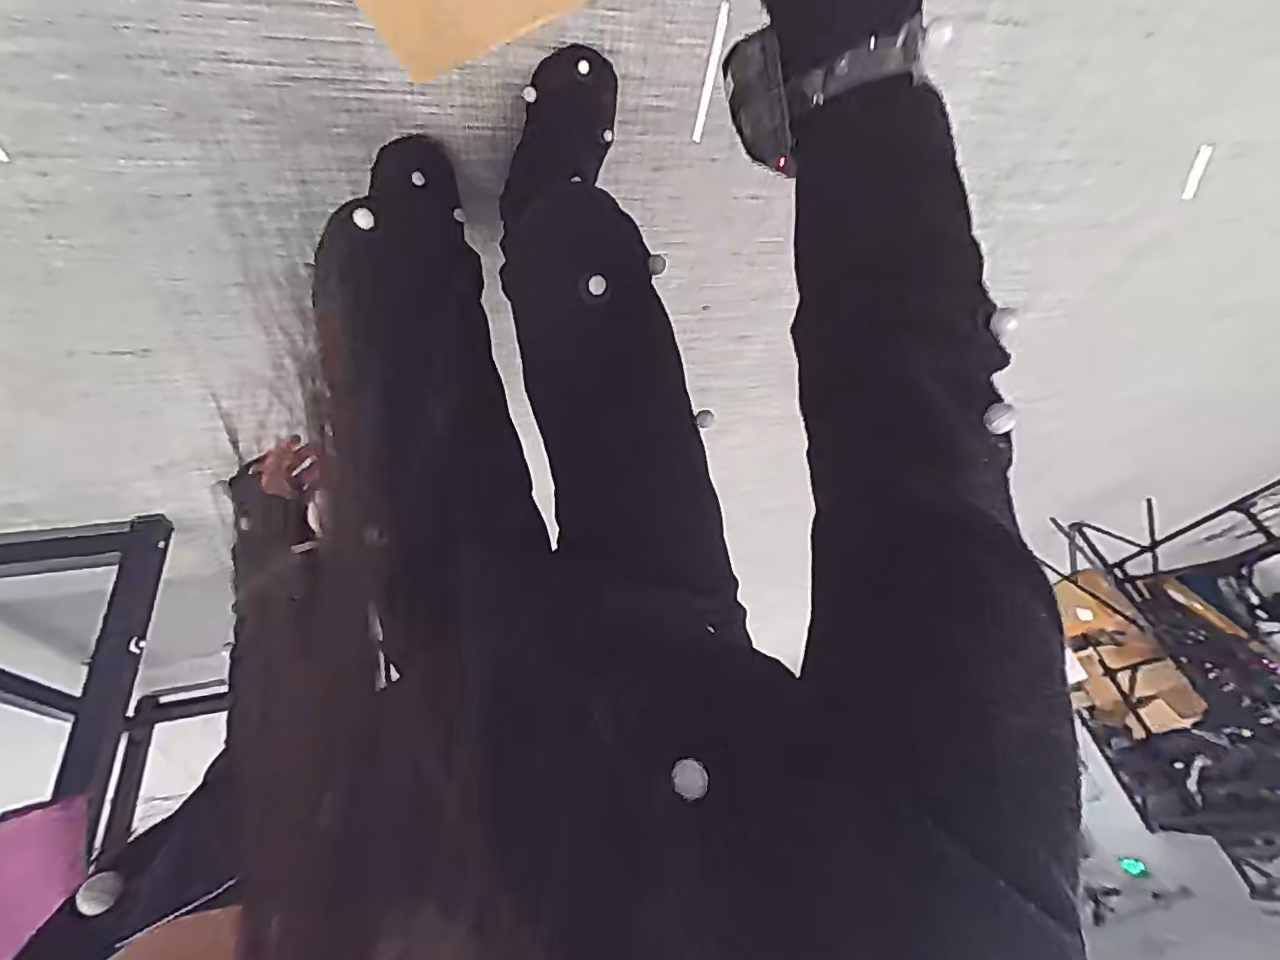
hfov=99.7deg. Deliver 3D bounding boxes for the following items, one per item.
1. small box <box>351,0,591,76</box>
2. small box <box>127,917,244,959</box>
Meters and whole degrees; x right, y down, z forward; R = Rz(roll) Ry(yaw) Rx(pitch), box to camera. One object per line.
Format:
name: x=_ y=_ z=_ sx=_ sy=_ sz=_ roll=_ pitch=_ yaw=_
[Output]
small box: x=-0.100 y=-0.354 z=0.250 sx=0.179 sy=0.176 sz=0.168 roll=-21 pitch=179 yaw=6
small box: x=-1.014 y=1.099 z=1.201 sx=0.179 sy=0.176 sz=0.168 roll=-7 pitch=148 yaw=-13
